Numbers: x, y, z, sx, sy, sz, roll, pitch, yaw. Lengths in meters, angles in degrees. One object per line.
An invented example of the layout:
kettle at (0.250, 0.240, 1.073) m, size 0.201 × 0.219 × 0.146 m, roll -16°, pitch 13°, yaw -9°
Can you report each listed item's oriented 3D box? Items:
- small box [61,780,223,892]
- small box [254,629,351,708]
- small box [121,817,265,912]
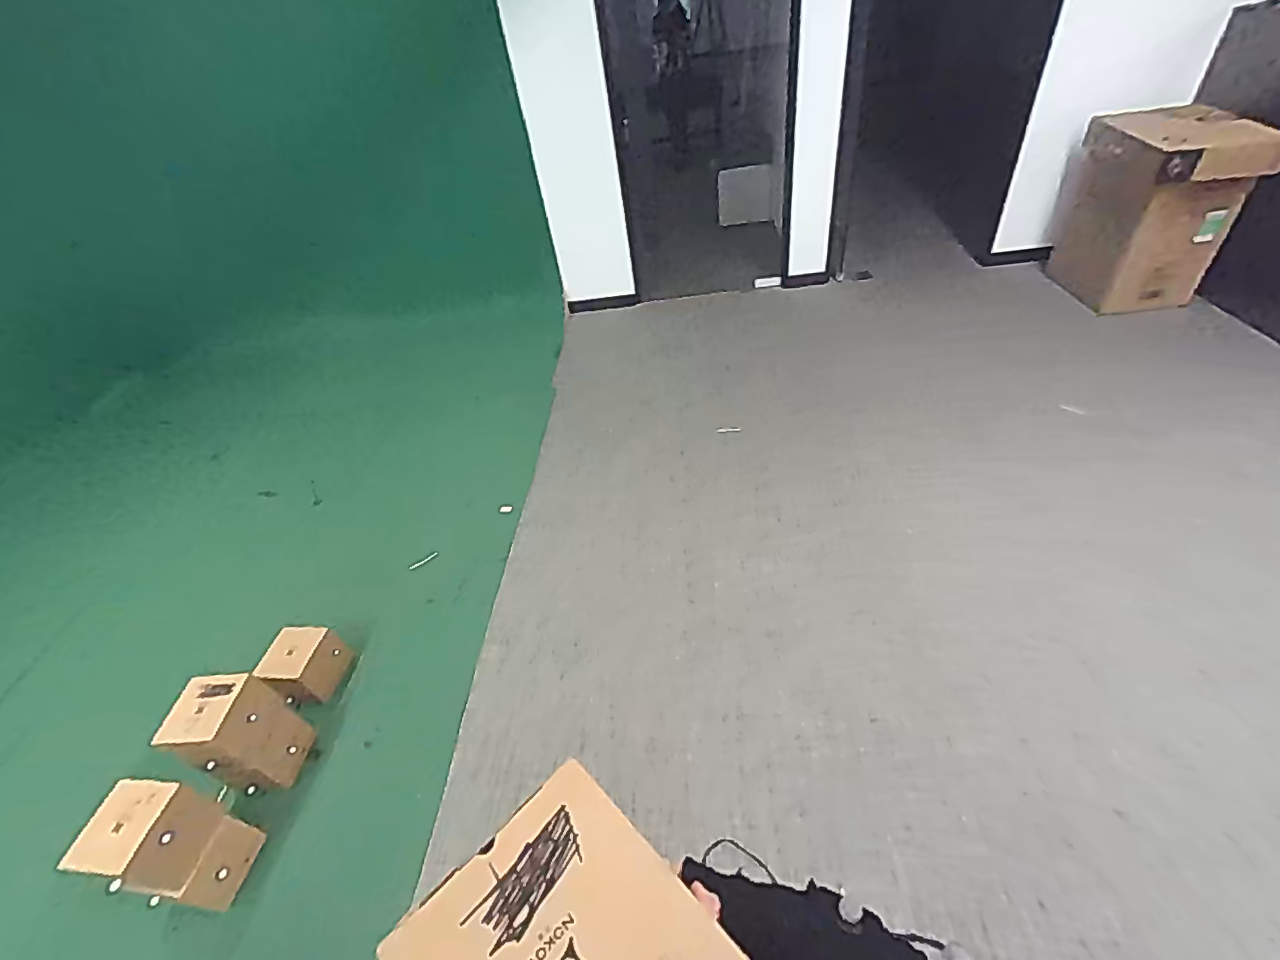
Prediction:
small box at (-1.113, 0.811, 1.229) m, size 0.168 × 0.176 × 0.179 m, roll -1°, pitch 42°, yaw 10°
small box at (-1.056, 0.595, 1.714) m, size 0.168 × 0.176 × 0.179 m, roll -2°, pitch 41°, yaw 10°
small box at (-1.082, 0.939, 1.329) m, size 0.179 × 0.176 × 0.168 m, roll -1°, pitch 42°, yaw 11°
